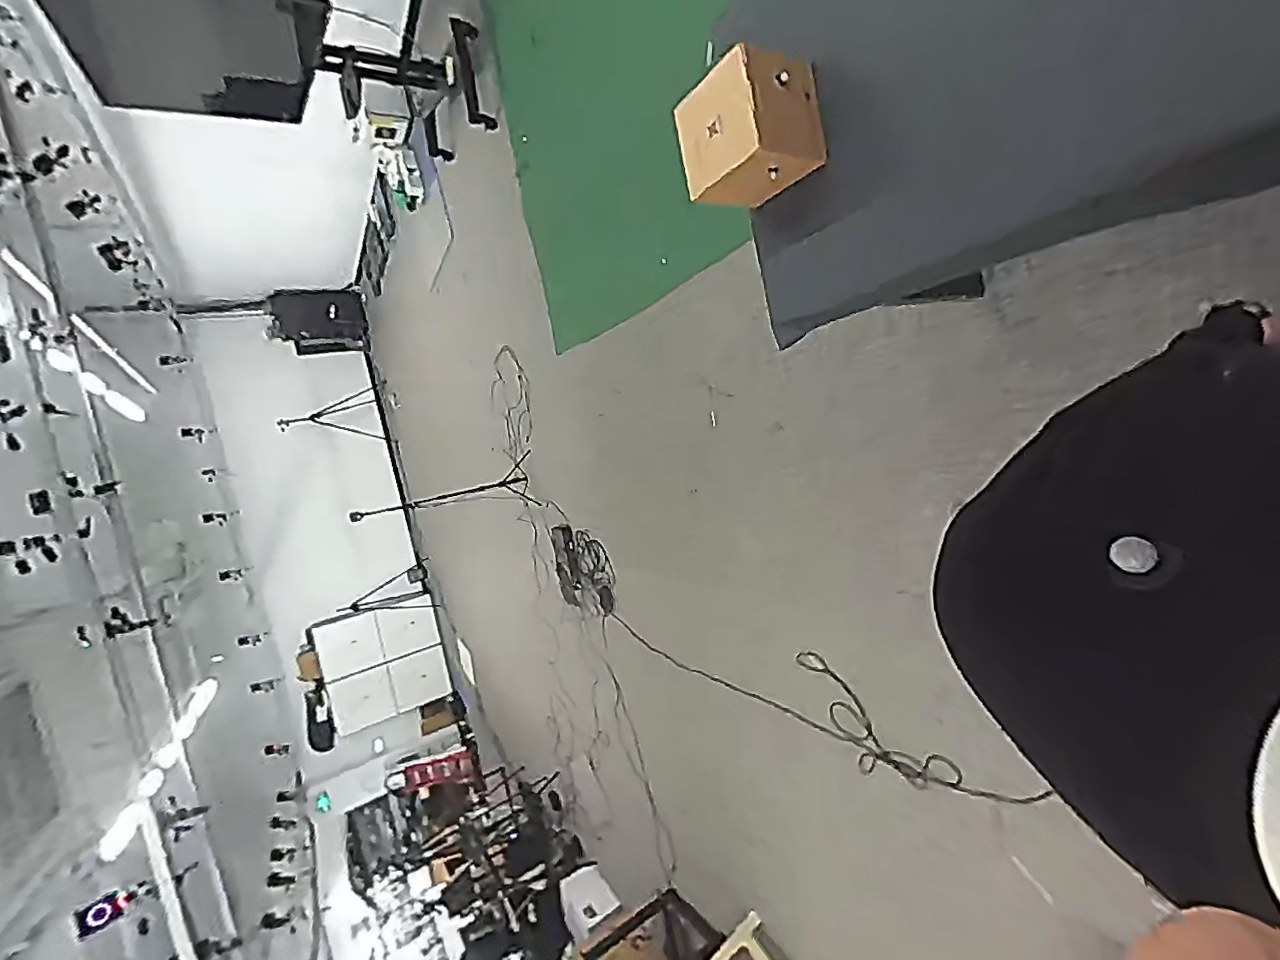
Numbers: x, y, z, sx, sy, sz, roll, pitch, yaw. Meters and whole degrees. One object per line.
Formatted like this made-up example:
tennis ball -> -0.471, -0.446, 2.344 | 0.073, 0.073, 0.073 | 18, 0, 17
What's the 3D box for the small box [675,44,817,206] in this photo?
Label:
small box -> 0.189, -0.601, 0.941 | 0.179, 0.176, 0.168 | -2, 99, 57
